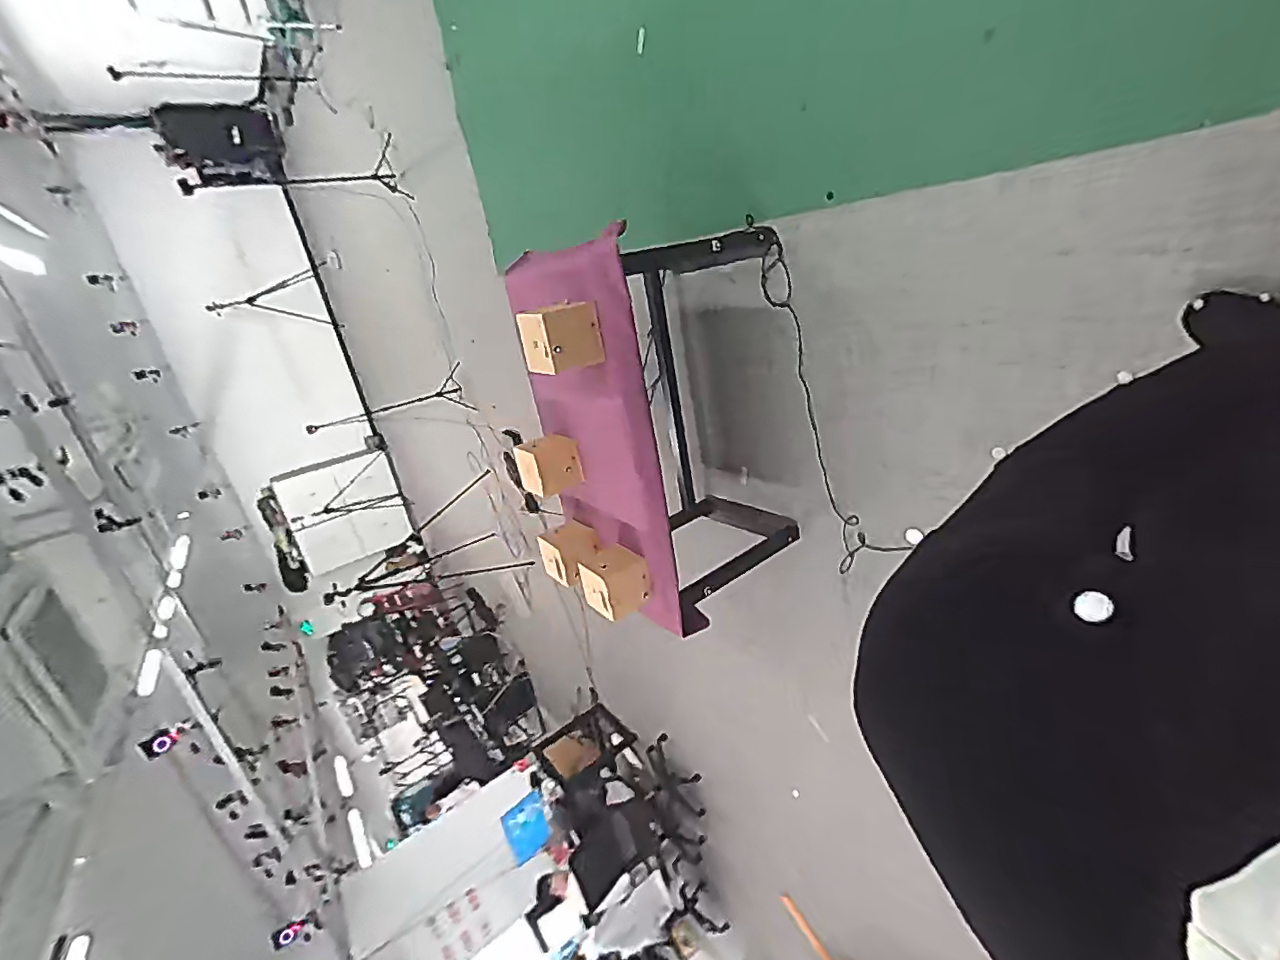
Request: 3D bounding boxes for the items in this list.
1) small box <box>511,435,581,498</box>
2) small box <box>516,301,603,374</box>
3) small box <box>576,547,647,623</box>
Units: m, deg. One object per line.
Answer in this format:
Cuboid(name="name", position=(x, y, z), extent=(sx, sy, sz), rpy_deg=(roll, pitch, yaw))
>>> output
Cuboid(name="small box", position=(-0.333, -0.054, 1.932), extent=(0.179, 0.176, 0.168), rpy_deg=(17, 123, 50))
Cuboid(name="small box", position=(-0.225, -0.406, 1.526), extent=(0.179, 0.176, 0.168), rpy_deg=(22, 129, 52))
Cuboid(name="small box", position=(-0.088, 0.345, 1.818), extent=(0.179, 0.176, 0.168), rpy_deg=(19, 125, 52))
